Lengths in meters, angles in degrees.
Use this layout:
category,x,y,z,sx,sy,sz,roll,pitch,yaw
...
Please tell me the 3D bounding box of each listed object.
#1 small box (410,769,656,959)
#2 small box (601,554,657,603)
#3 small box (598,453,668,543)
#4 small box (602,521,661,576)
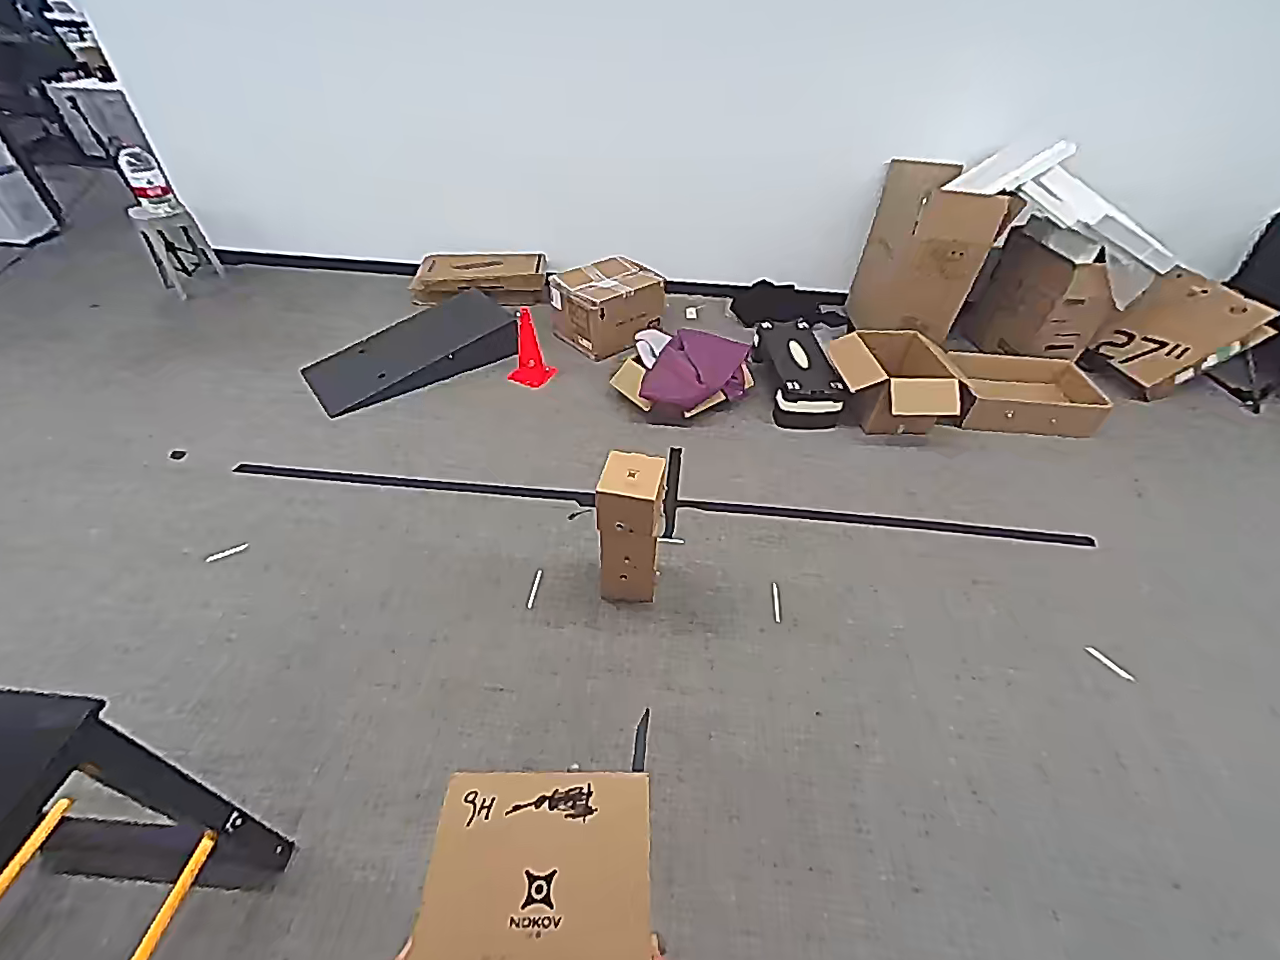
category,x,y,z,sx,sy,sz,roll,pitch,yaw
small box,-0.071,0.354,0.436,0.168,0.176,0.179,0,45,-1
small box,-0.034,0.288,1.770,0.179,0.176,0.168,3,43,0
small box,-0.019,0.052,1.542,0.168,0.176,0.179,9,44,8
small box,-0.023,0.167,1.658,0.168,0.176,0.179,5,43,3
